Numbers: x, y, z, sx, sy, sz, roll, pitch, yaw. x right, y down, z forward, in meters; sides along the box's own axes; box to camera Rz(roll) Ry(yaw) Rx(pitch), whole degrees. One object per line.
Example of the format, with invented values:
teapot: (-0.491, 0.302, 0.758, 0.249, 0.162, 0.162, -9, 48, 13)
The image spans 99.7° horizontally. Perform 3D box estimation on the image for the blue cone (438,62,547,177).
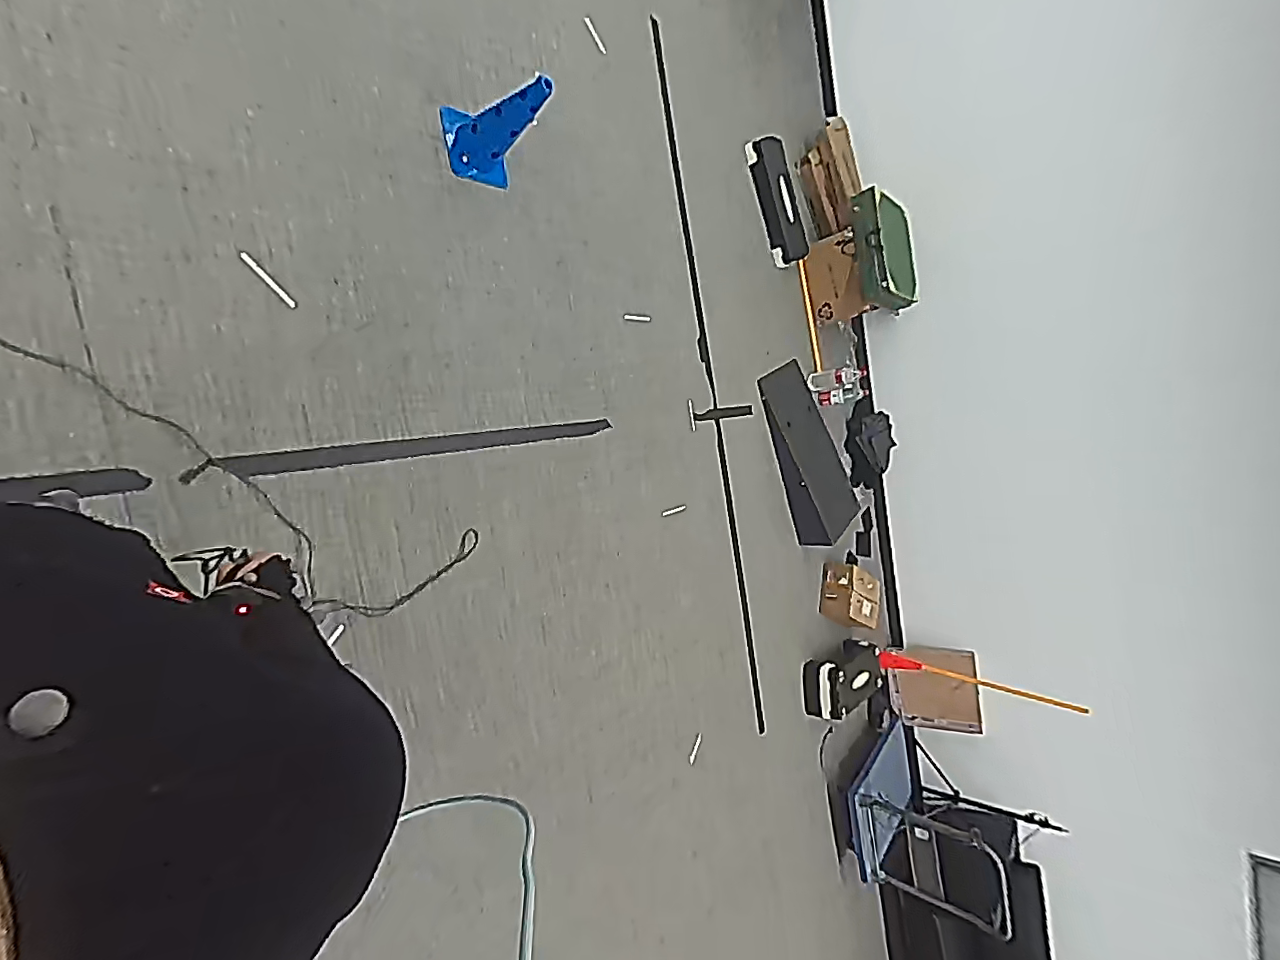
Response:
blue cone: (-0.386, -1.036, 1.521, 0.193, 0.380, 0.192, -13, 95, -48)
